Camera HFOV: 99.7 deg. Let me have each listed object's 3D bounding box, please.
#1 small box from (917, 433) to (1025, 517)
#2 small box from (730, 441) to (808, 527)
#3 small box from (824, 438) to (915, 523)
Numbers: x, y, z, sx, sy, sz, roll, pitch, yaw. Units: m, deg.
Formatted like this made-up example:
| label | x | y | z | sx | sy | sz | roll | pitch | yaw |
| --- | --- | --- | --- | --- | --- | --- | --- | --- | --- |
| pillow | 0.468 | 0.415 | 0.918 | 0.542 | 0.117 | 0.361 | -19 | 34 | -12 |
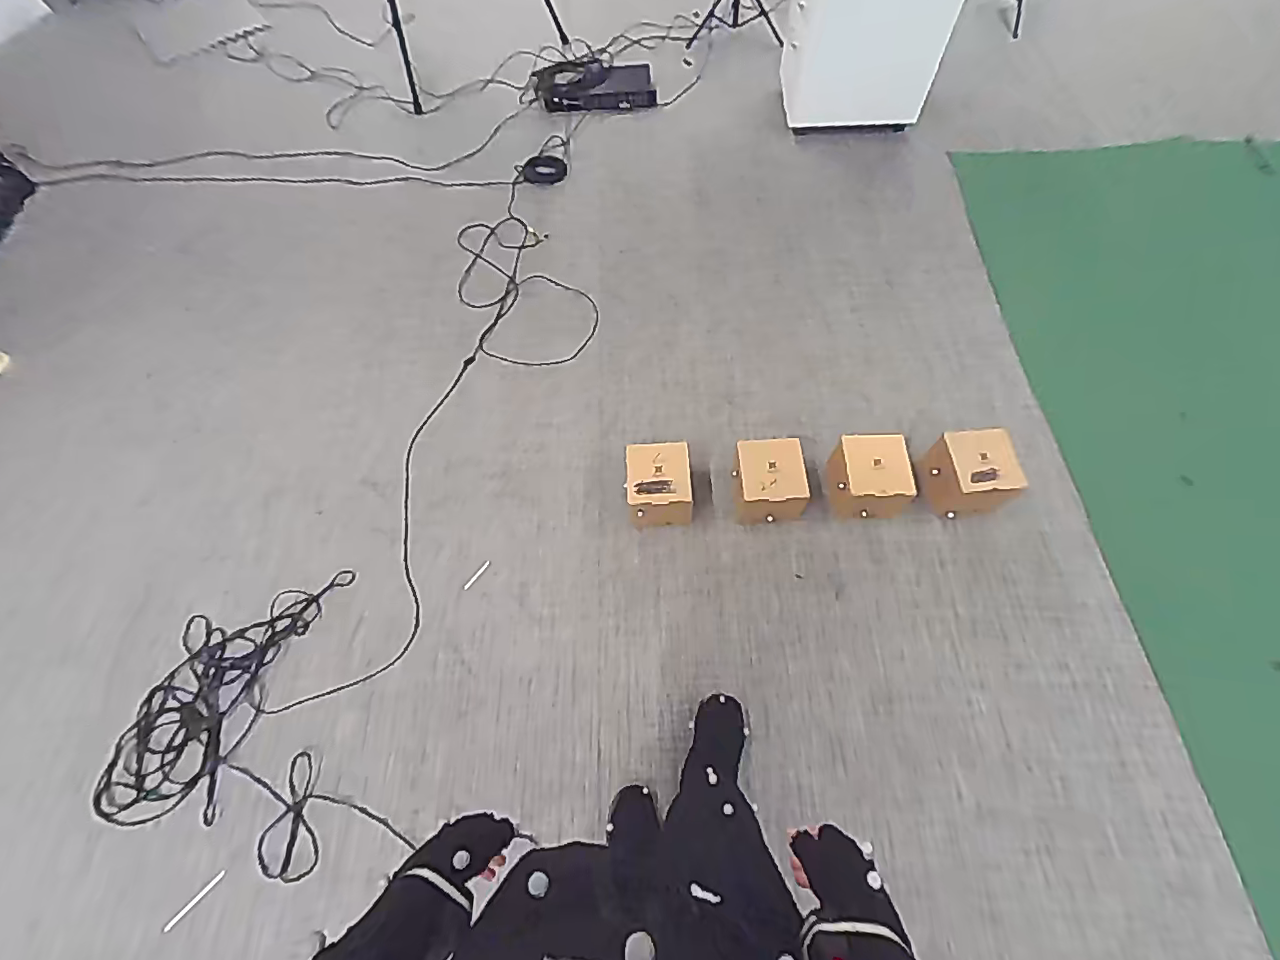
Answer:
| label | x | y | z | sx | sy | sz | roll | pitch | yaw |
| --- | --- | --- | --- | --- | --- | --- | --- | --- | --- |
| small box | 0.878 | -0.006 | 1.453 | 0.168 | 0.176 | 0.179 | -4 | 63 | 0 |
| small box | 0.341 | 0.013 | 1.460 | 0.168 | 0.176 | 0.179 | -3 | 64 | 2 |
| small box | 0.609 | 0.004 | 1.459 | 0.168 | 0.176 | 0.179 | -1 | 64 | 1 |
